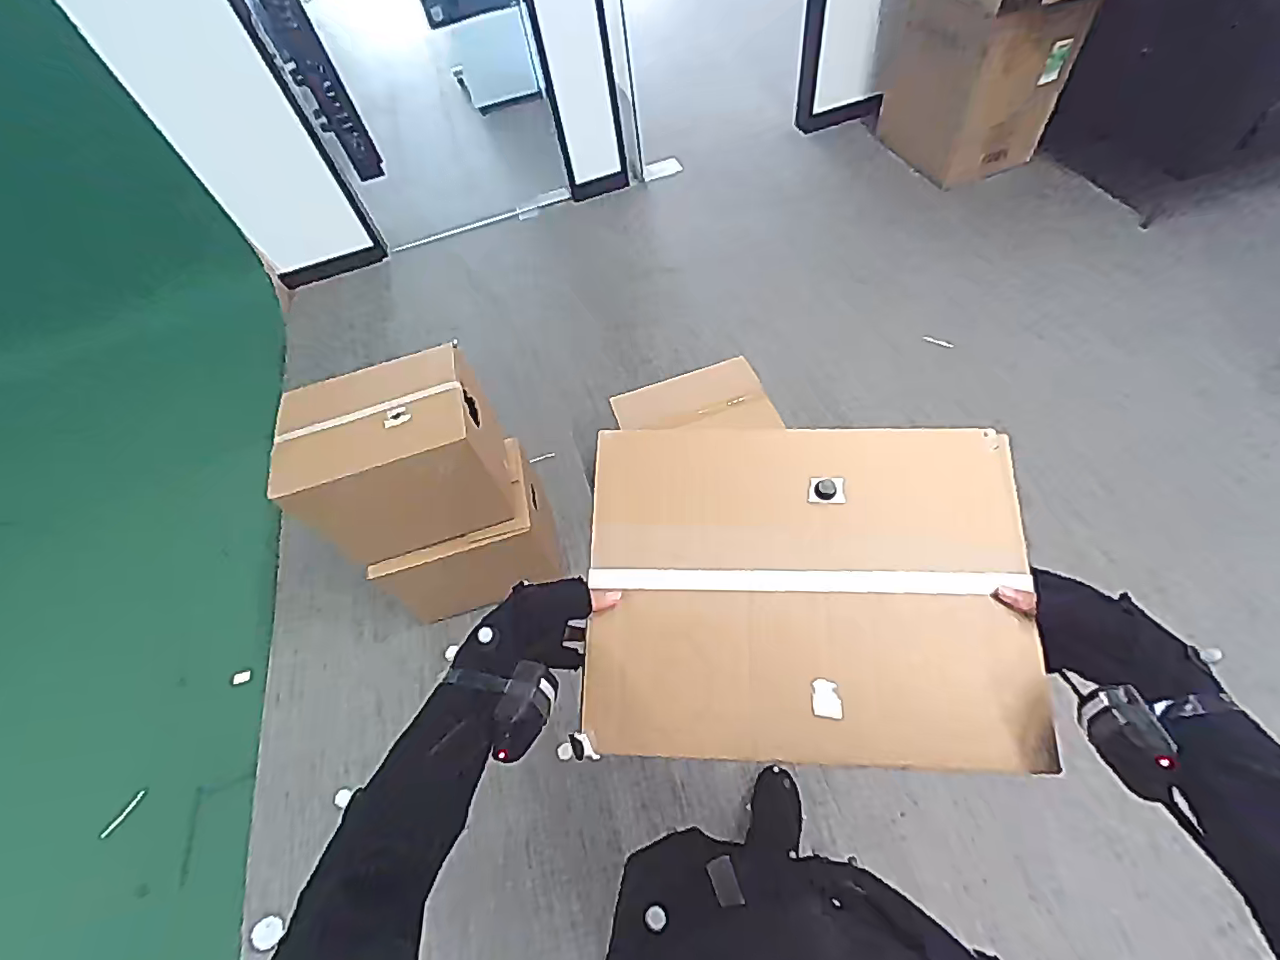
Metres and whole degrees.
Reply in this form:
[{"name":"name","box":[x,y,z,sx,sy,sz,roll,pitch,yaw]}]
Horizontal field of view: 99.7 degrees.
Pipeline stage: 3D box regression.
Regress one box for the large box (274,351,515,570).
[{"name":"large box","box":[-0.550,-0.041,1.273,0.408,0.320,0.320,-17,53,-4]}]
